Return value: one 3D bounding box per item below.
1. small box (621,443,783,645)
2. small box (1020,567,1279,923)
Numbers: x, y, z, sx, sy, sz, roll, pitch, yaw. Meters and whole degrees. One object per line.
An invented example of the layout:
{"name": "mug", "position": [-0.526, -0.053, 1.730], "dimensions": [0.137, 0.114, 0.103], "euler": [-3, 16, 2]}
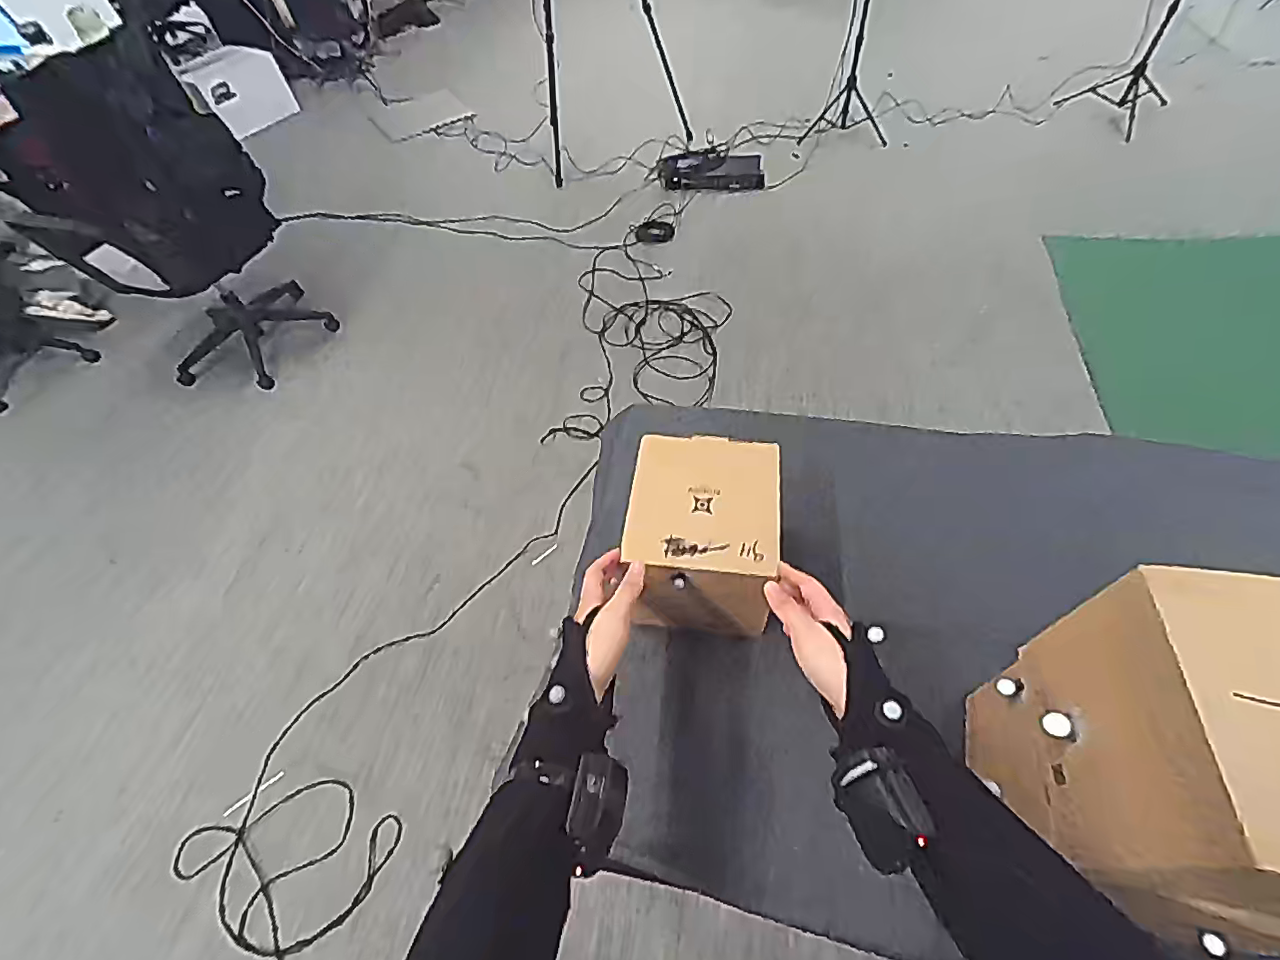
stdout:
{"name": "small box", "position": [0.078, 0.079, 0.660], "dimensions": [0.168, 0.176, 0.179], "euler": [5, 54, 9]}
{"name": "small box", "position": [0.391, 0.176, 0.348], "dimensions": [0.179, 0.176, 0.168], "euler": [5, 54, 11]}
